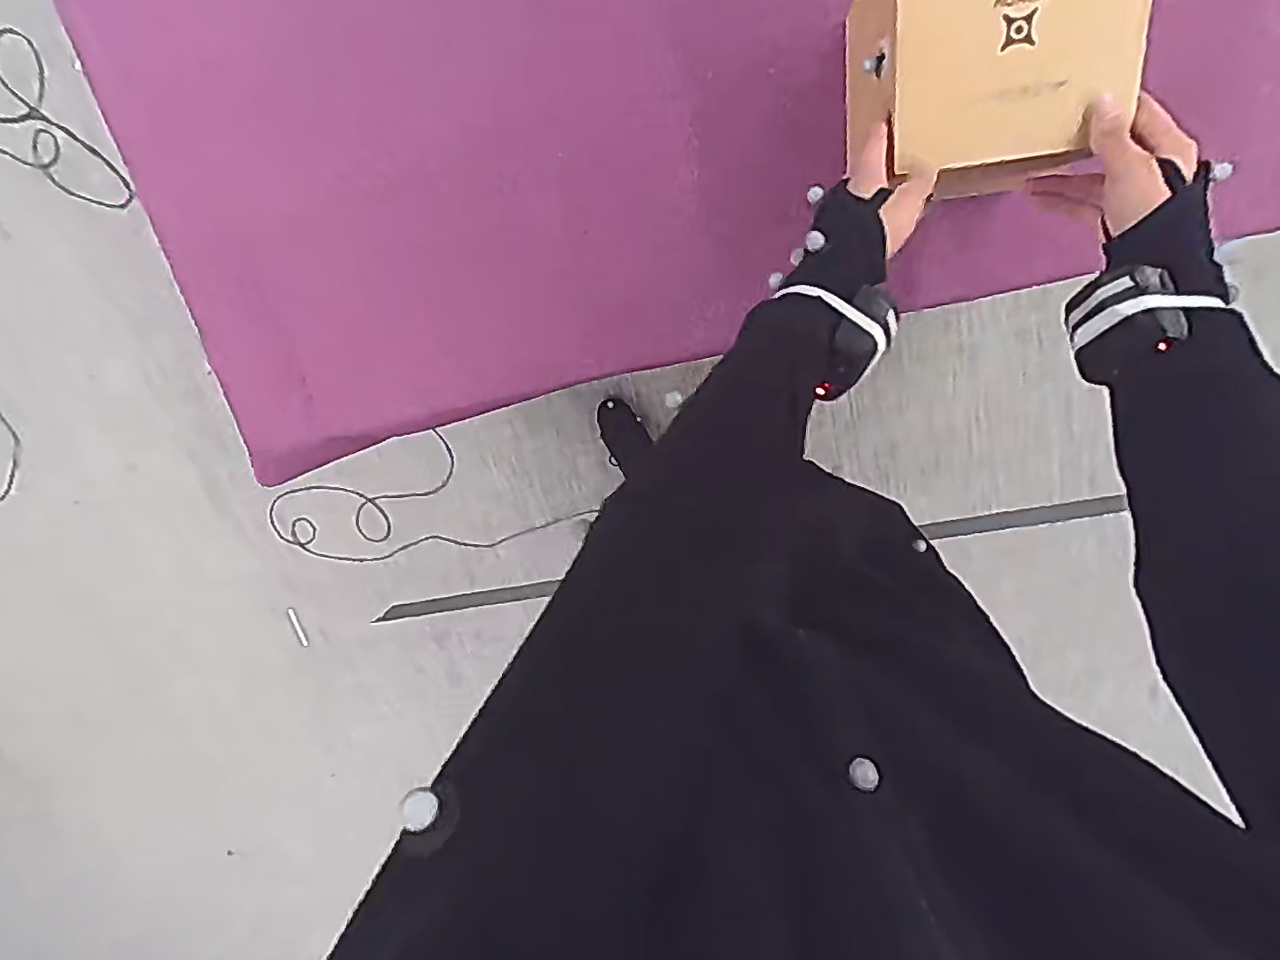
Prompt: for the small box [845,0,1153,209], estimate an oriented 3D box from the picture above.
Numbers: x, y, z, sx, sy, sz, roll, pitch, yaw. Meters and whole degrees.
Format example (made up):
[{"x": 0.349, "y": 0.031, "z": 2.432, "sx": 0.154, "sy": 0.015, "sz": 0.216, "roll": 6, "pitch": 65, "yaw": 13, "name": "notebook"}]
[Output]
[{"x": 0.274, "y": -0.344, "z": 0.451, "sx": 0.168, "sy": 0.176, "sz": 0.179, "roll": -3, "pitch": 107, "yaw": 9, "name": "small box"}]
